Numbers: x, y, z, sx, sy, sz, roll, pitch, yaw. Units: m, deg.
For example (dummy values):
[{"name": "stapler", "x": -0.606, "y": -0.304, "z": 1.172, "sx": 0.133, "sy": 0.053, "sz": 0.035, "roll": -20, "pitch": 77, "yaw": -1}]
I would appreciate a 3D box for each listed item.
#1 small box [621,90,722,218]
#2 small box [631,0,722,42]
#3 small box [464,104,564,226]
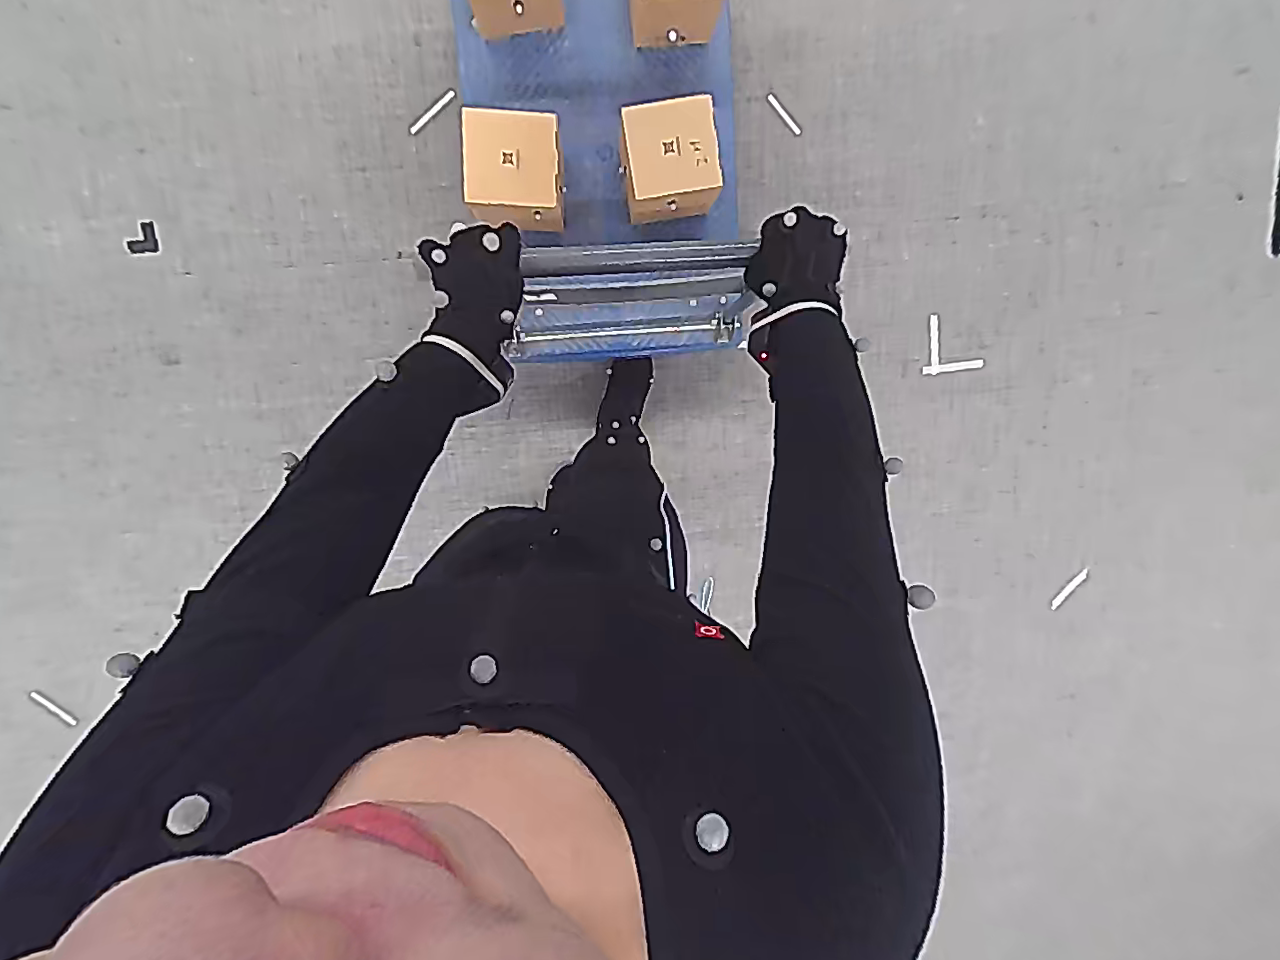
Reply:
[{"name": "small box", "x": 0.058, "y": -0.655, "z": 1.108, "sx": 0.179, "sy": 0.176, "sz": 0.168, "roll": -10, "pitch": 101, "yaw": -2}, {"name": "small box", "x": 0.067, "y": -0.998, "z": 1.046, "sx": 0.168, "sy": 0.176, "sz": 0.179, "roll": -6, "pitch": 102, "yaw": -3}, {"name": "small box", "x": -0.248, "y": -0.625, "z": 1.093, "sx": 0.179, "sy": 0.176, "sz": 0.168, "roll": 0, "pitch": 100, "yaw": -6}]
